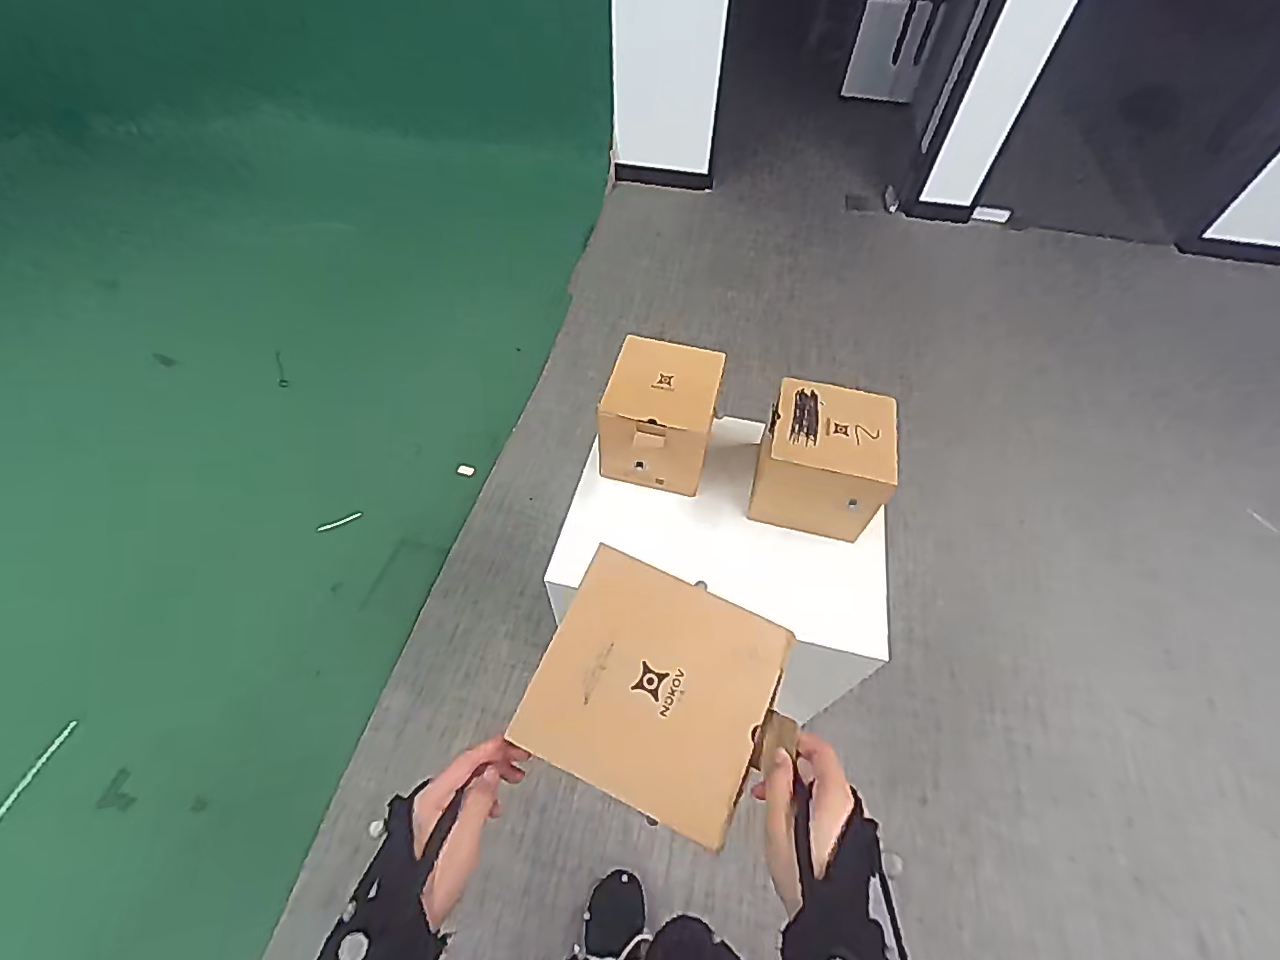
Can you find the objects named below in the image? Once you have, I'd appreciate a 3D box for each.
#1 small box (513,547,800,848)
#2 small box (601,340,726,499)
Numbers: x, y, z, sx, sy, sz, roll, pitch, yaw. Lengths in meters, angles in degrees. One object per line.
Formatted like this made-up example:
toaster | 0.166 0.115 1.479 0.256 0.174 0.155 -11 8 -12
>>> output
small box | 0.016 0.185 0.486 0.179 0.176 0.168 22 68 9
small box | 0.036 -0.097 0.891 0.168 0.176 0.179 12 56 6
